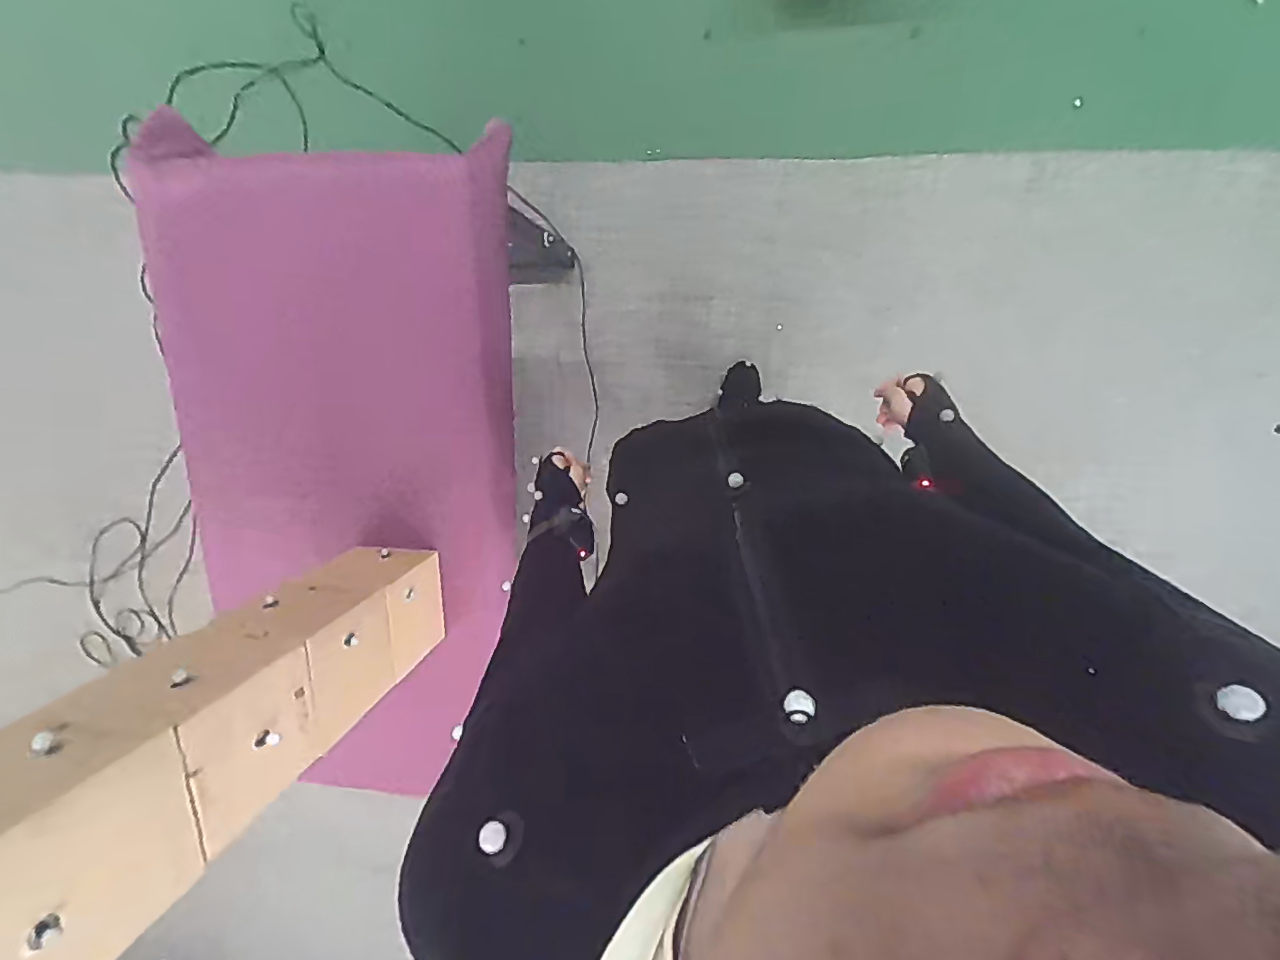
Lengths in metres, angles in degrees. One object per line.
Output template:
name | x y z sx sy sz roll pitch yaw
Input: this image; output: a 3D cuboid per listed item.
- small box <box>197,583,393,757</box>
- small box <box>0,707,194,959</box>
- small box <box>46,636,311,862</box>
small box | -0.486 0.264 0.788 0.168 0.176 0.179 2 103 9
small box | -0.540 0.331 0.471 0.168 0.176 0.179 1 101 9
small box | -0.517 0.298 0.631 0.179 0.176 0.168 1 102 9
